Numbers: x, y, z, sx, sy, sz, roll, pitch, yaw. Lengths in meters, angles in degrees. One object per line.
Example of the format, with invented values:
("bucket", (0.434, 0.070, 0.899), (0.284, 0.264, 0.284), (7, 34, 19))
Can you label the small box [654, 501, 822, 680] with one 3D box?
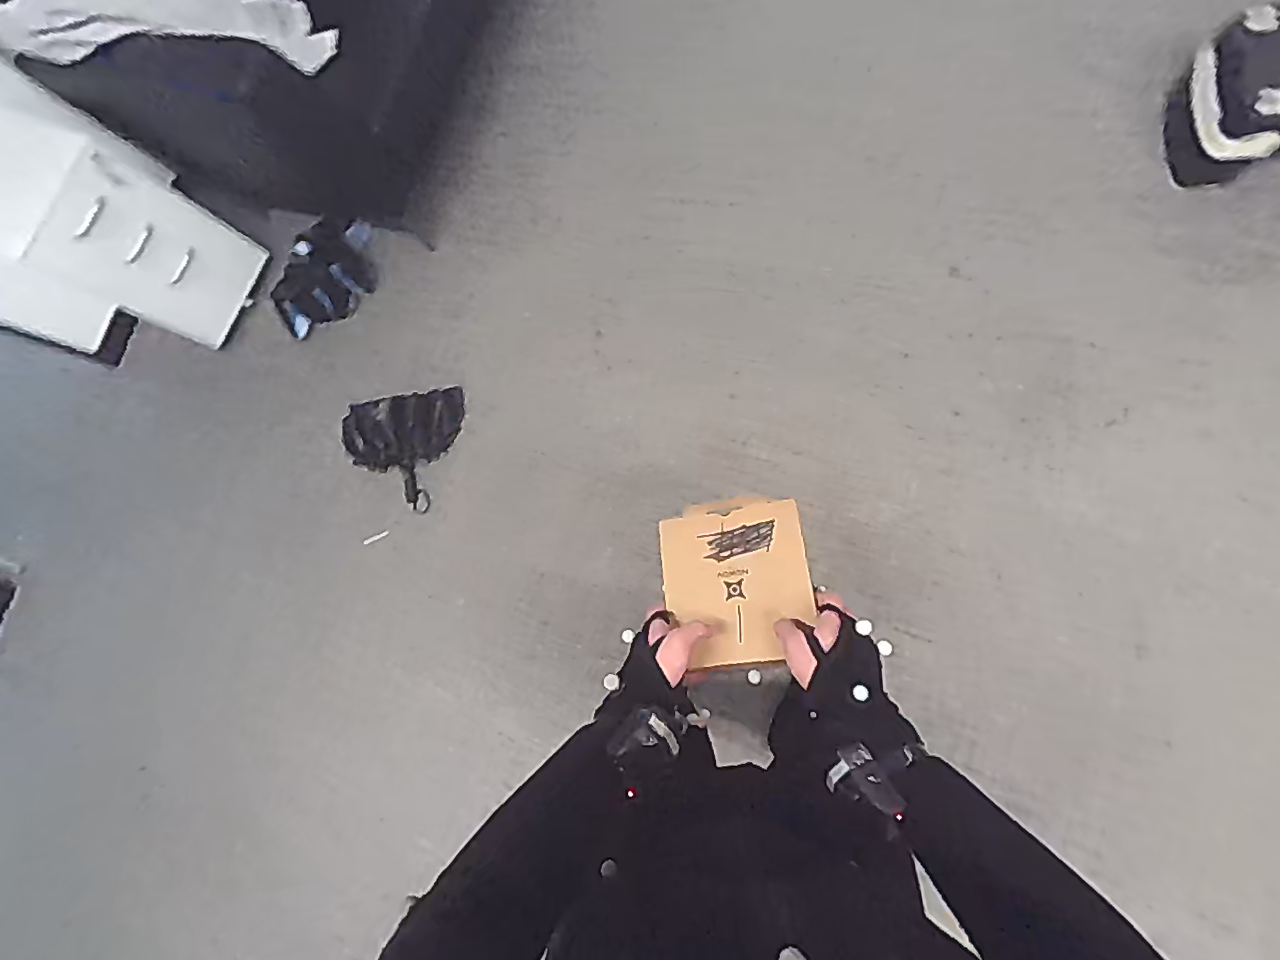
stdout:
("small box", (0.125, 0.146, 0.672), (0.168, 0.176, 0.179), (-12, 66, 16))
